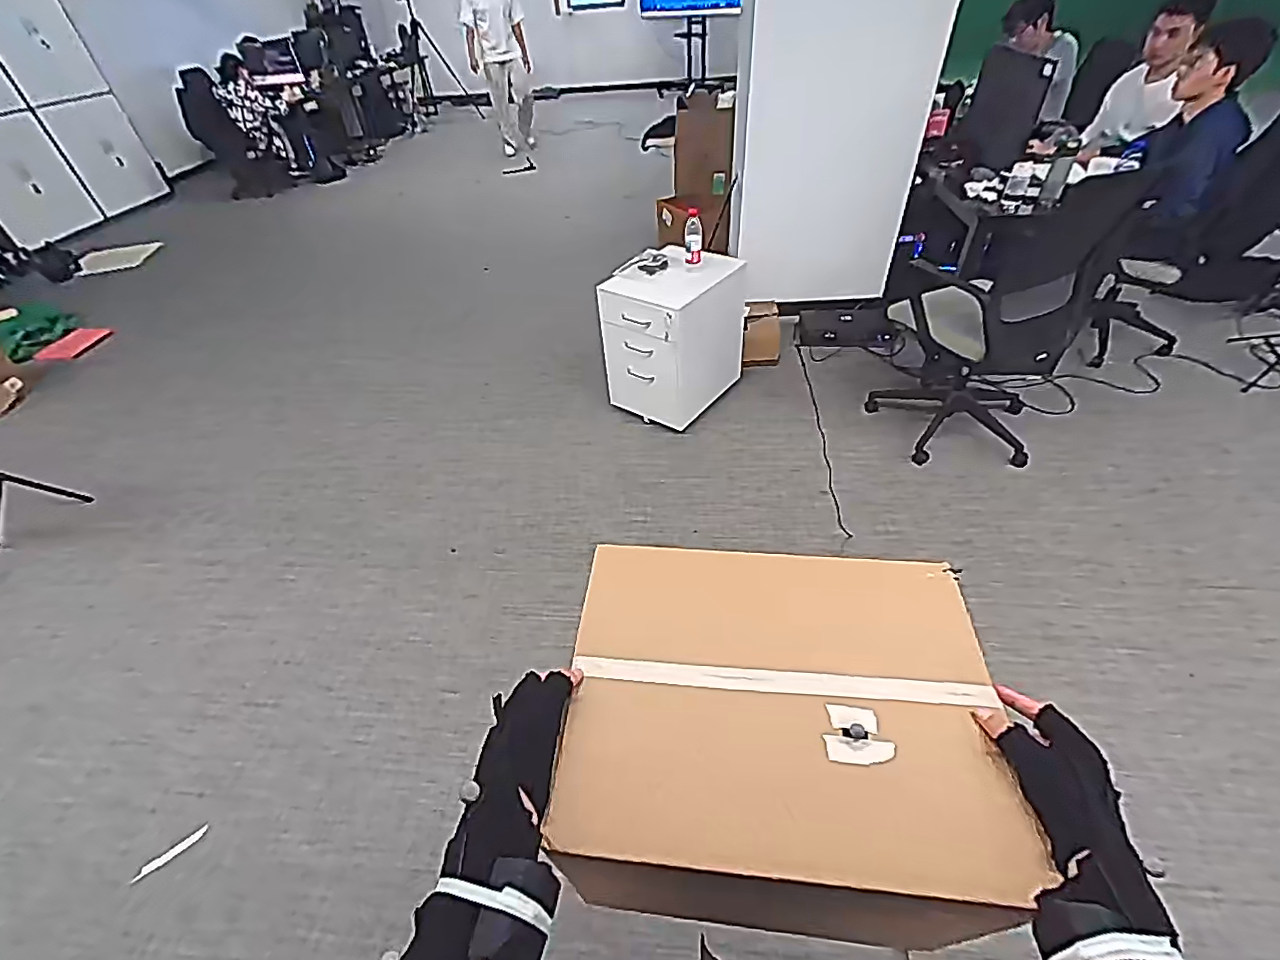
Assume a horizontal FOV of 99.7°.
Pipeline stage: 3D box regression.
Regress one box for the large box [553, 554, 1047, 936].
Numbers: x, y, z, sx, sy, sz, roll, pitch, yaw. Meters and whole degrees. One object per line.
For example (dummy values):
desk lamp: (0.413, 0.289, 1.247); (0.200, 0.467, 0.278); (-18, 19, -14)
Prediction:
large box: (0.141, 0.310, 0.645); (0.408, 0.320, 0.320); (2, 47, 7)
